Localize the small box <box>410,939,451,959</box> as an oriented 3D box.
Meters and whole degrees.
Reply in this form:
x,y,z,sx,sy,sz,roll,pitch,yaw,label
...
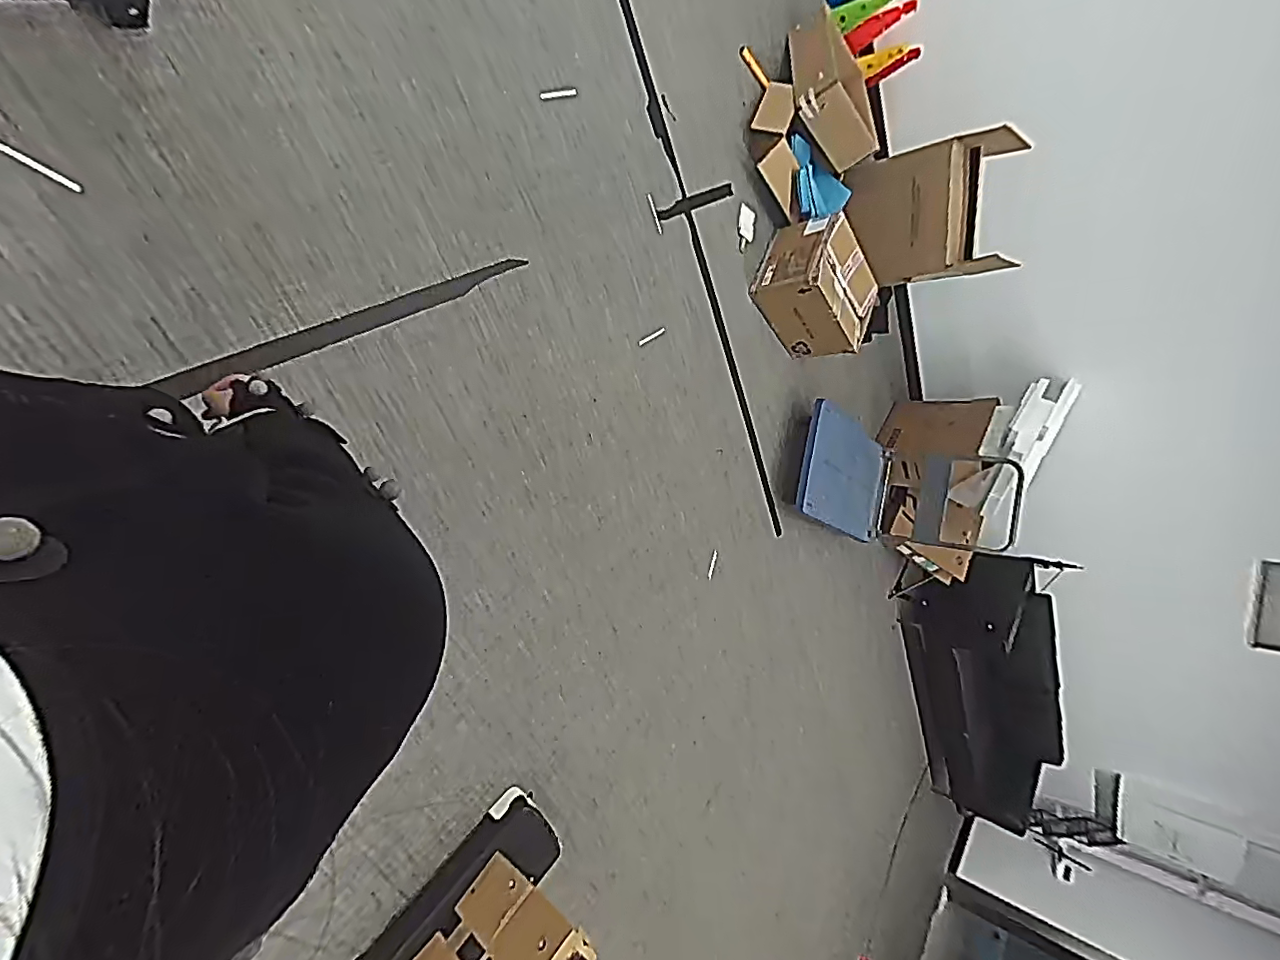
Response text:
x,y,z,sx,sy,sz,roll,pitch,yaw,label
-0.529,1.325,1.368,0.168,0.176,0.179,-36,118,-37,small box
